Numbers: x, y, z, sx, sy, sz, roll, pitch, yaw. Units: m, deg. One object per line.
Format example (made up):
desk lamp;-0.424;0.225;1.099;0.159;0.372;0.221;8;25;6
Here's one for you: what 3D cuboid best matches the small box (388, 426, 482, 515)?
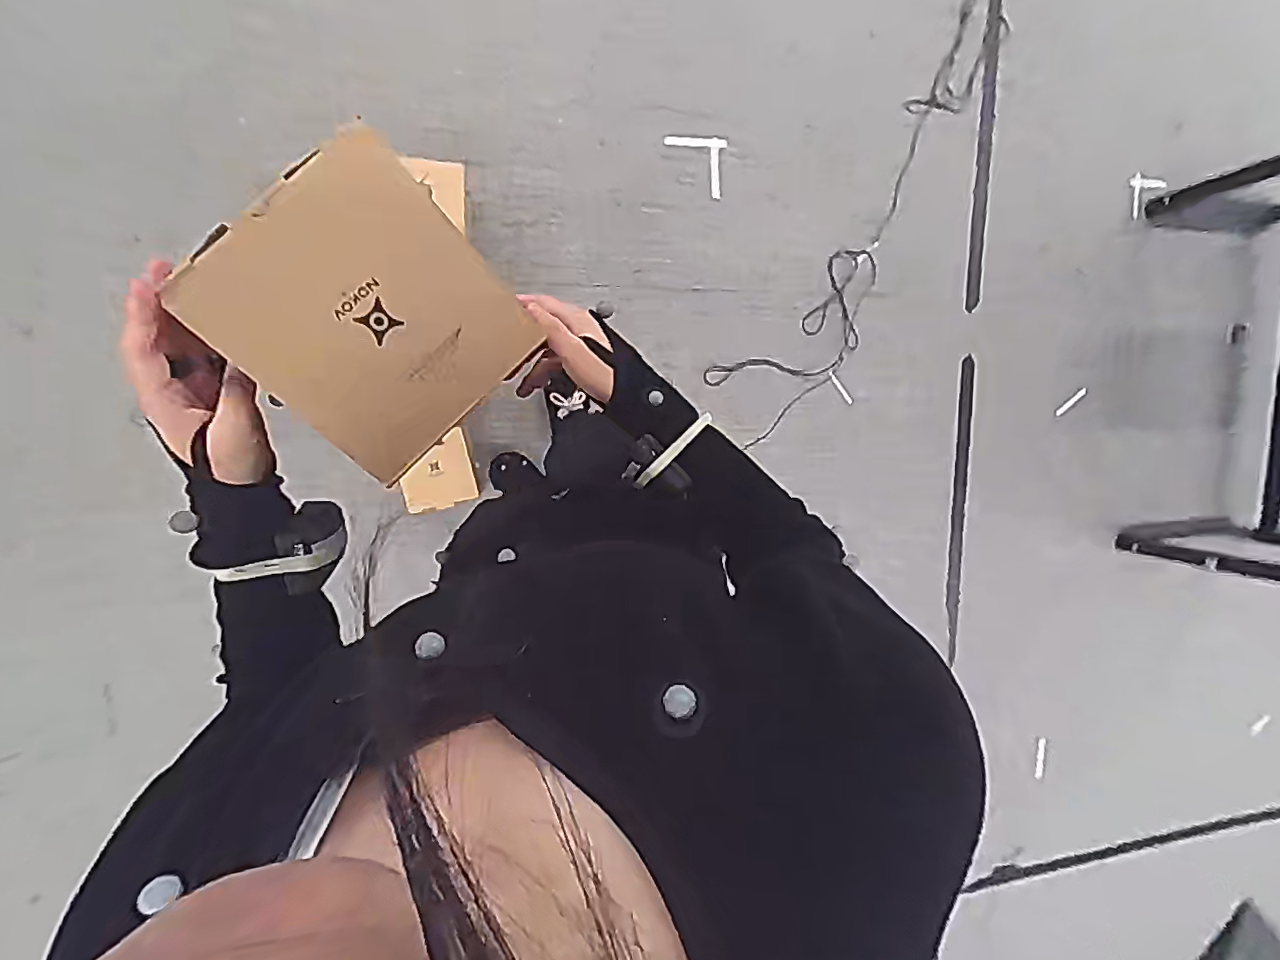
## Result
small box;-0.495;-0.030;1.332;0.168;0.176;0.179;-14;100;-11
